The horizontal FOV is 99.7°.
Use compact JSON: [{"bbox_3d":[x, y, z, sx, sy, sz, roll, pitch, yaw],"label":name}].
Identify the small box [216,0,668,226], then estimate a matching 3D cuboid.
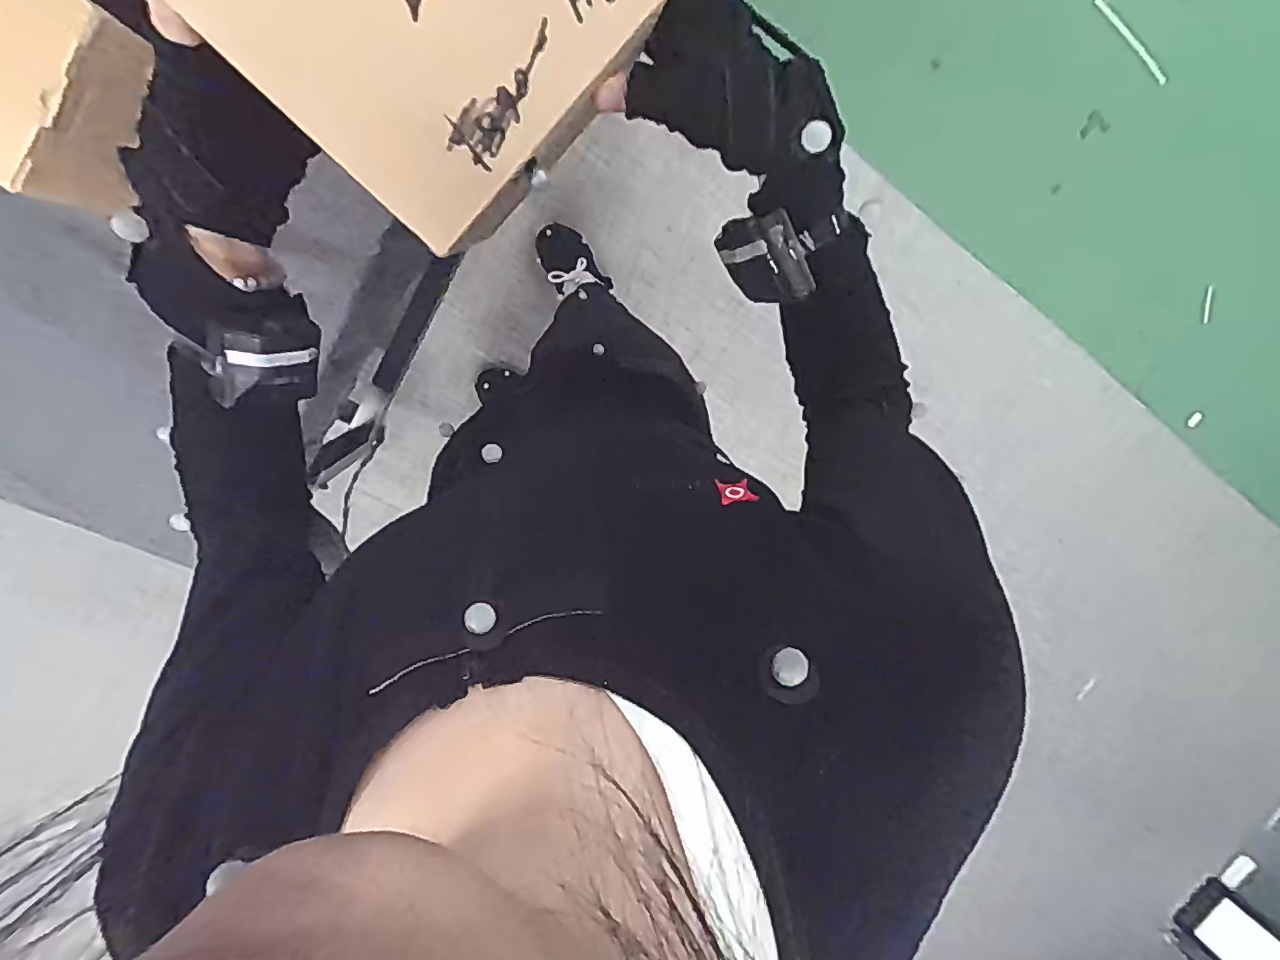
[{"bbox_3d":[-0.107,-0.267,0.301,0.168,0.176,0.179,-42,114,13],"label":"small box"}]
